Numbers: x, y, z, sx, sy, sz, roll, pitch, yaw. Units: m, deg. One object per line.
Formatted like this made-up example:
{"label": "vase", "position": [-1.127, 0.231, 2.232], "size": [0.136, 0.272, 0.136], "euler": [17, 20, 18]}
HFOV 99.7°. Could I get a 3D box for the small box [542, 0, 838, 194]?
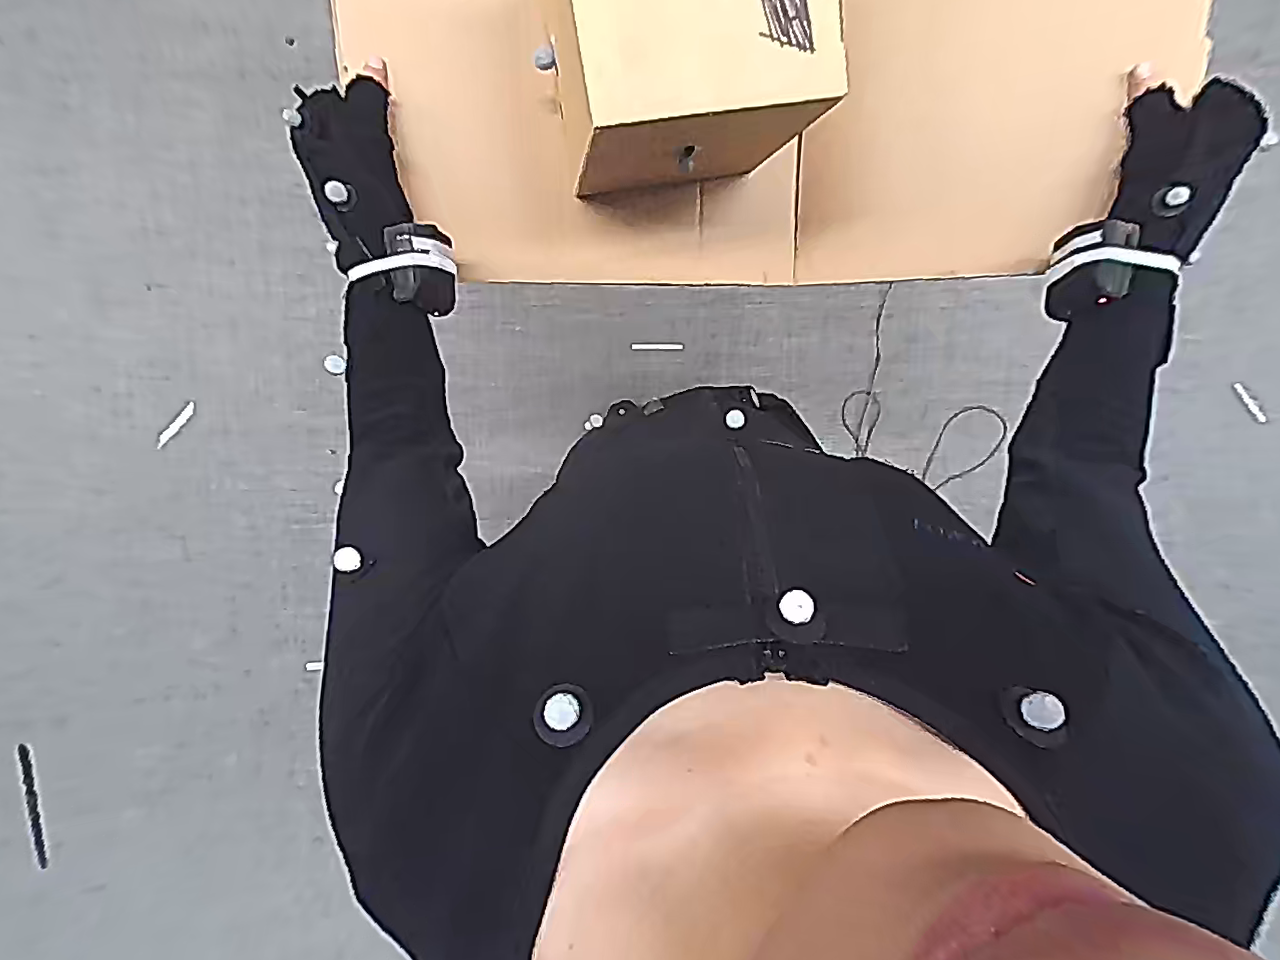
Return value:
{"label": "small box", "position": [0.026, -0.336, 0.414], "size": [0.179, 0.176, 0.168], "euler": [-12, 106, -7]}
